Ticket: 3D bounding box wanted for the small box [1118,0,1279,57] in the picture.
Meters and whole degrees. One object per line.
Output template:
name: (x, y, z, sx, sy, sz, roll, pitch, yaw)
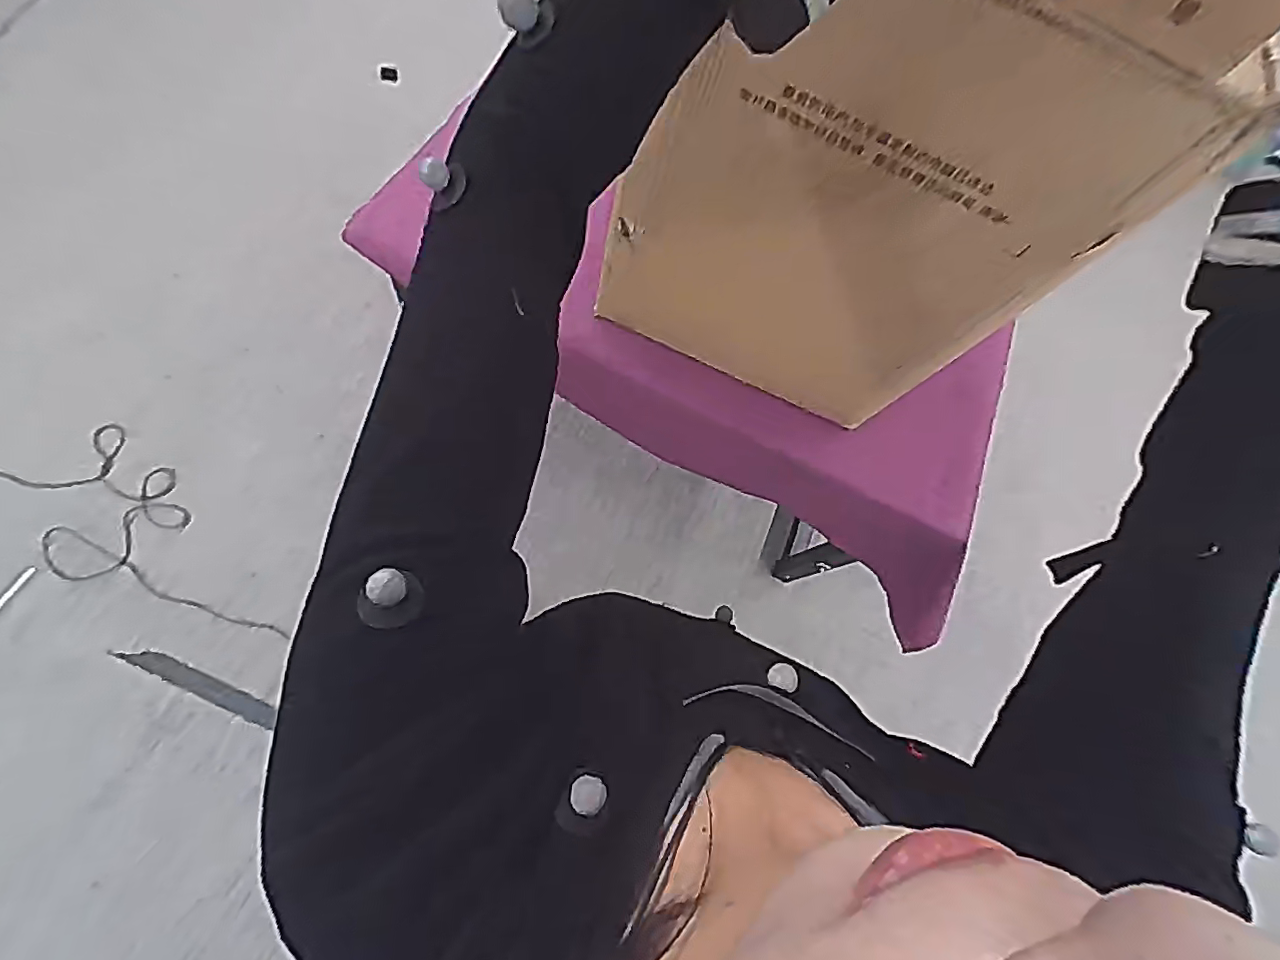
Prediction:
small box: (0.417, -0.436, 0.356, 0.168, 0.176, 0.179, 28, 68, -2)
